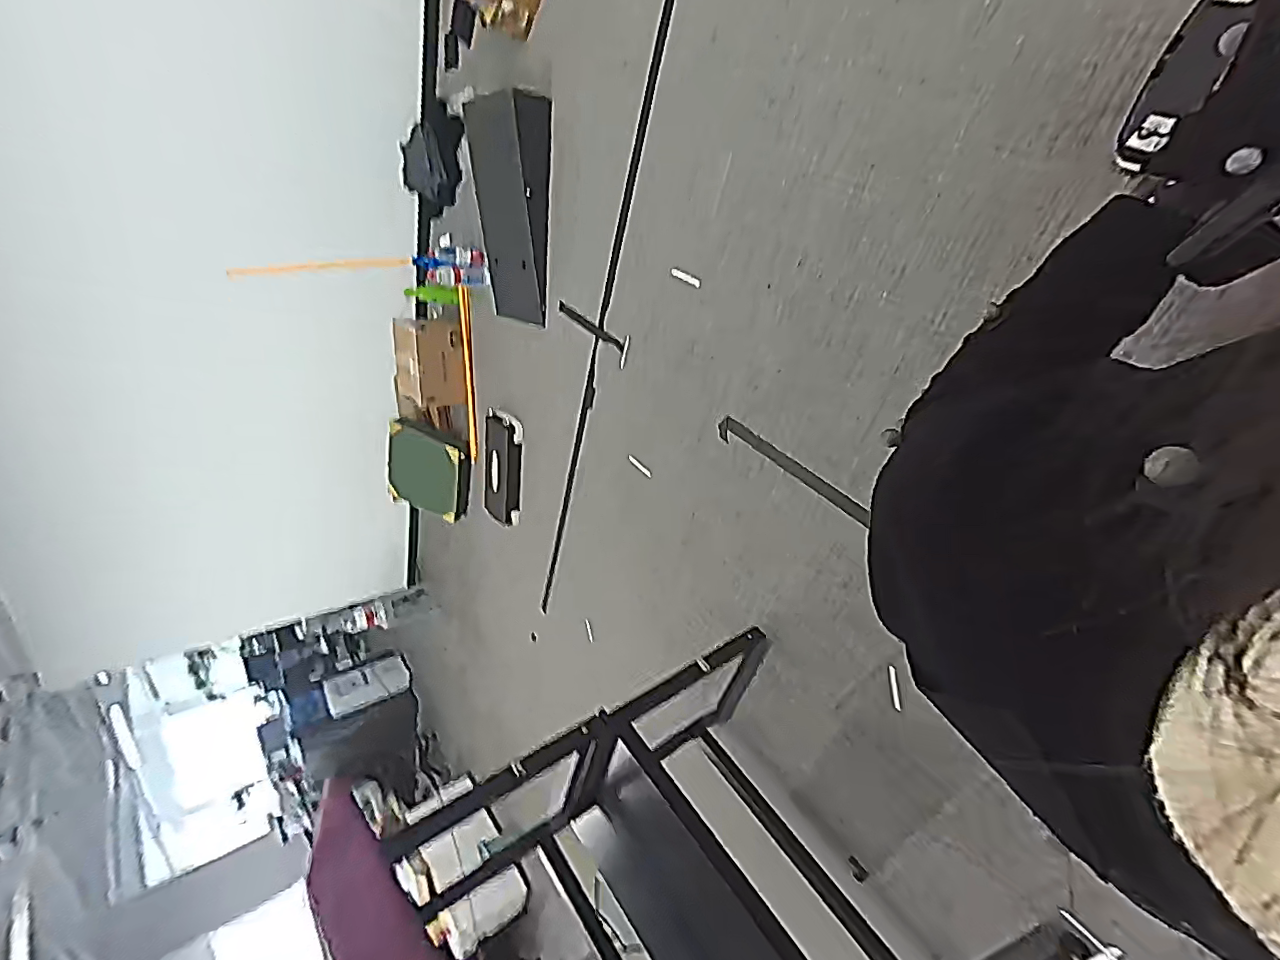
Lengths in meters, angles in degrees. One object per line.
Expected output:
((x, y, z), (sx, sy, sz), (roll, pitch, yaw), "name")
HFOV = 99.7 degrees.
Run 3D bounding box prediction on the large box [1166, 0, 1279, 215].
((0.954, -0.460, 0.605), (0.408, 0.320, 0.320), (40, 127, 37), "large box")
